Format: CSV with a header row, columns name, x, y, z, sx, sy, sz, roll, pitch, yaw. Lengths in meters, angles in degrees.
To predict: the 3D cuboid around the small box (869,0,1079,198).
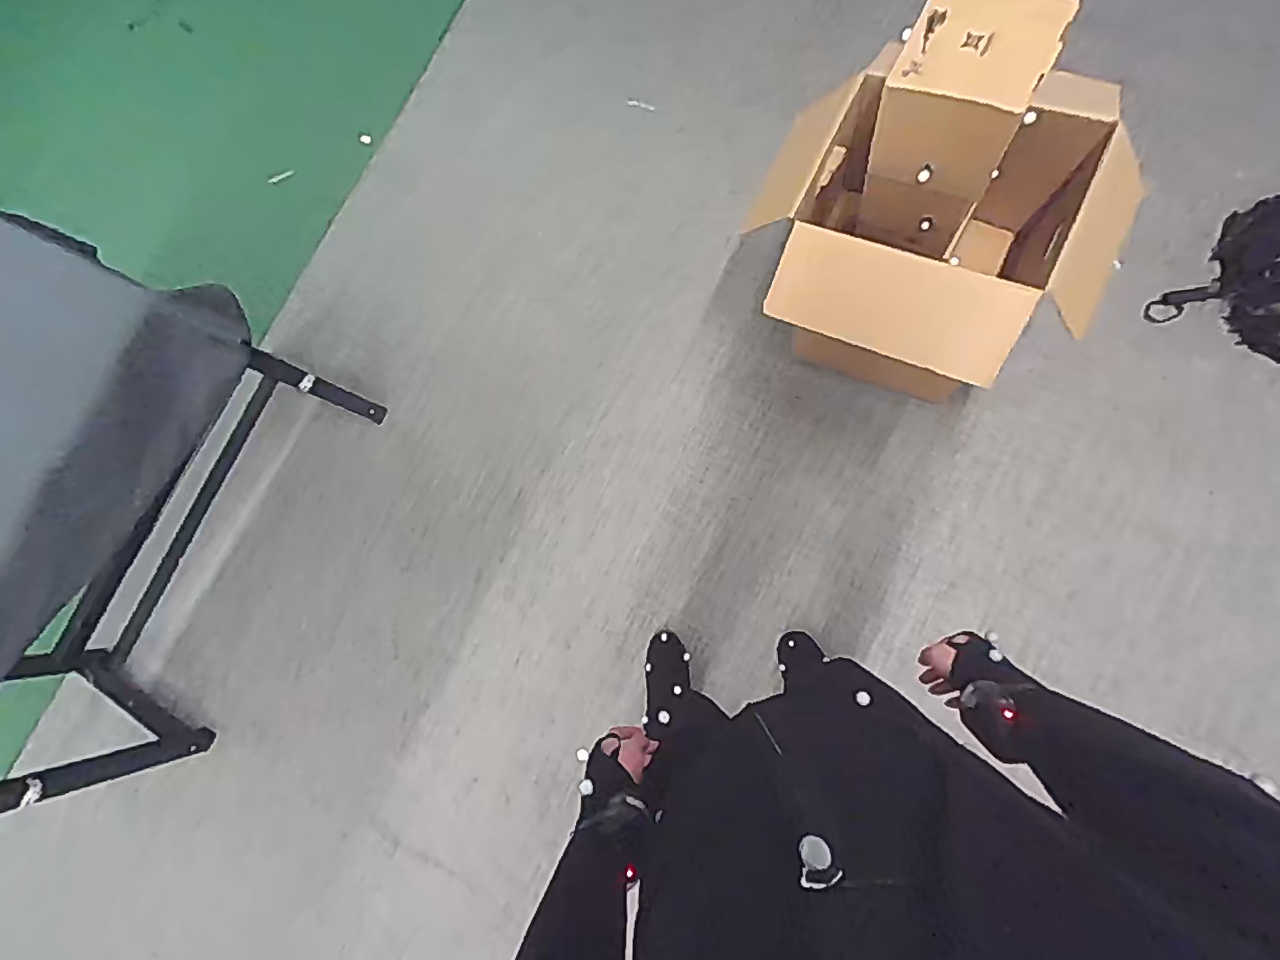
name,x,y,z,sx,sy,sz,roll,pitch,yaw
small box,0.454,-0.538,0.768,0.179,0.176,0.168,27,87,17
